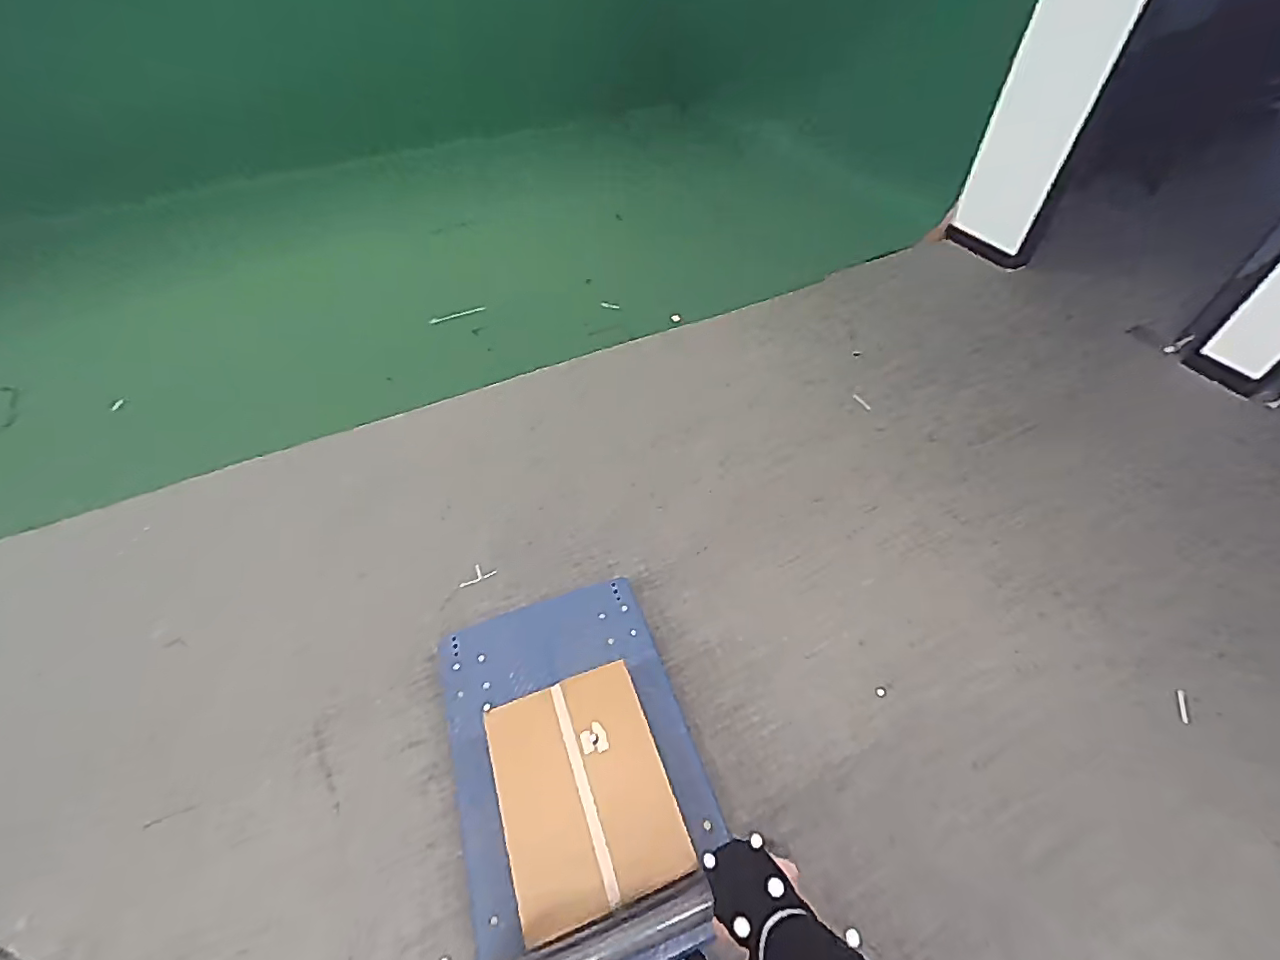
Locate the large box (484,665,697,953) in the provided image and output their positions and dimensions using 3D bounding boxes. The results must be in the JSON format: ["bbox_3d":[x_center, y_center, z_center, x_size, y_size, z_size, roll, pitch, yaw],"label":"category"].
[{"bbox_3d":[-0.104,0.683,1.142,0.320,0.320,0.408,-17,50,-12],"label":"large box"}]
